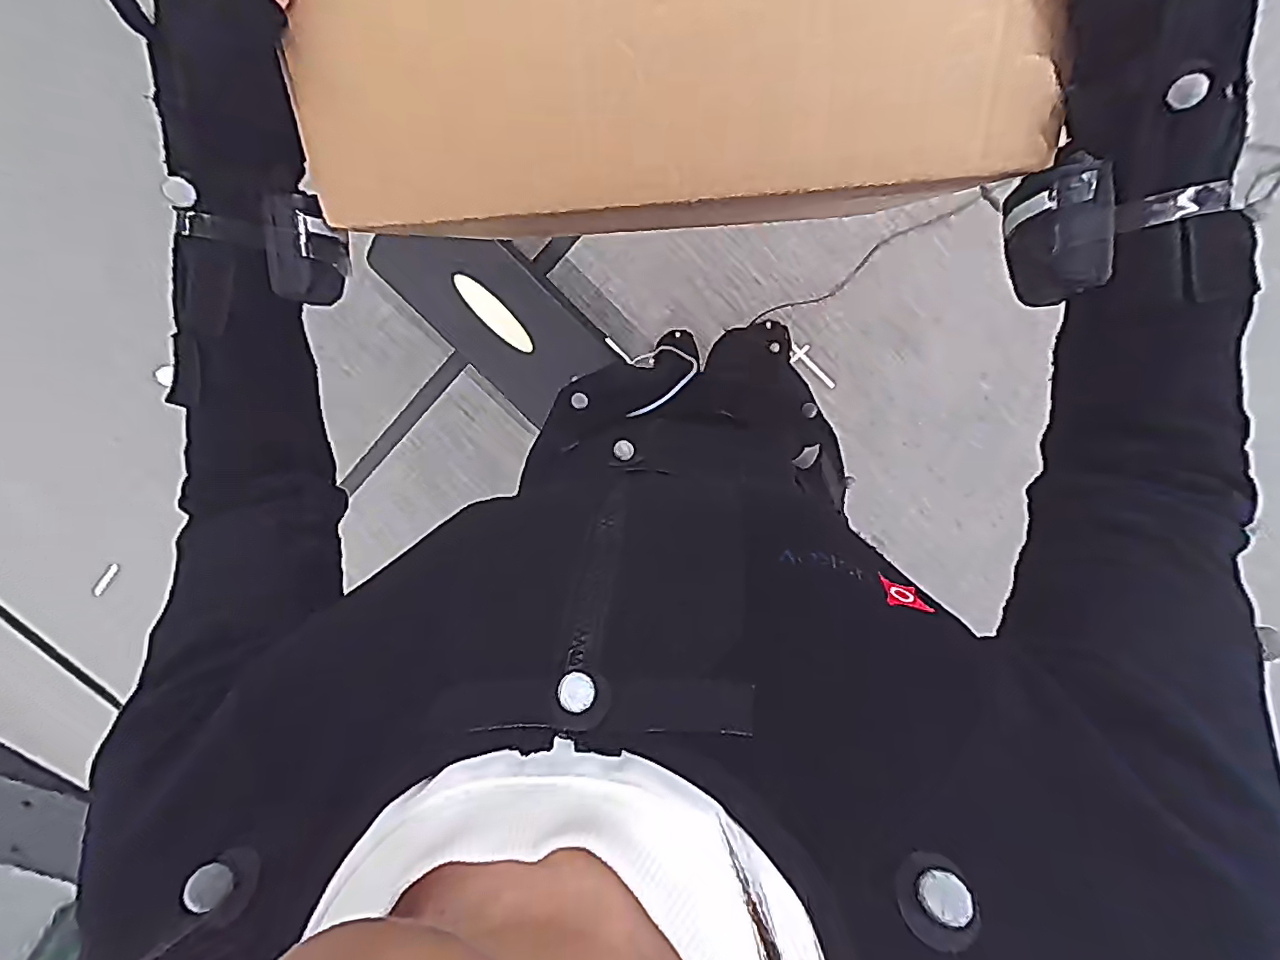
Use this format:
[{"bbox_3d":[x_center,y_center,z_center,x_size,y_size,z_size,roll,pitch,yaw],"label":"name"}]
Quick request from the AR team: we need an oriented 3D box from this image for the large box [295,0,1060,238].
[{"bbox_3d":[0.017,-0.368,0.394,0.408,0.320,0.320,-2,113,7],"label":"large box"}]
